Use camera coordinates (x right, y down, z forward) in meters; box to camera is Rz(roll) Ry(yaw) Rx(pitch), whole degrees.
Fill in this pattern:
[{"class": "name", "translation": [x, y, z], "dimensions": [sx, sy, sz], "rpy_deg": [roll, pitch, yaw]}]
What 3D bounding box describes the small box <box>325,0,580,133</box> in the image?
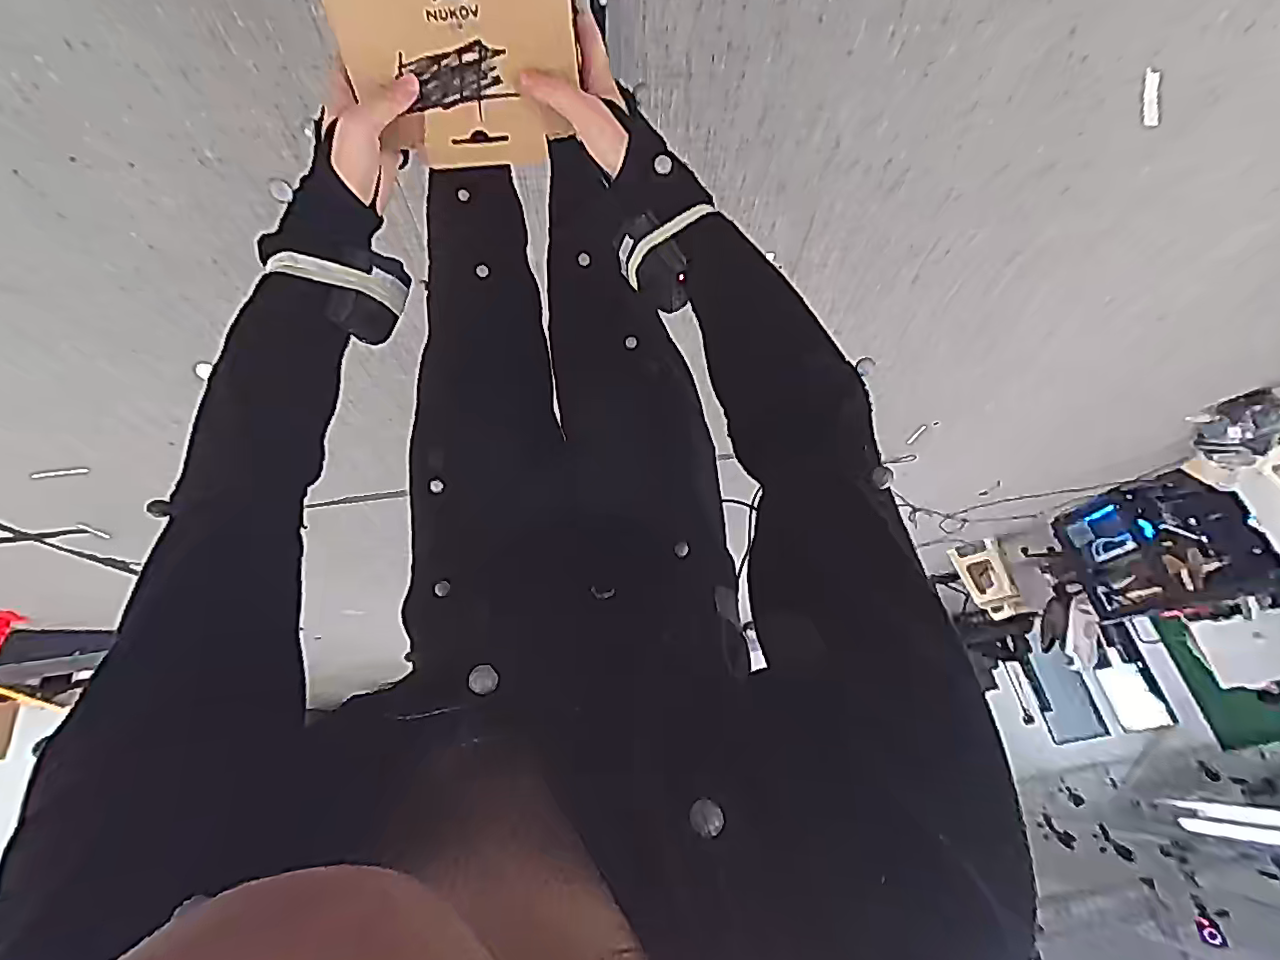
[{"class": "small box", "translation": [-0.137, -0.393, 0.412], "dimensions": [0.168, 0.176, 0.179], "rpy_deg": [-6, 136, -1]}]
